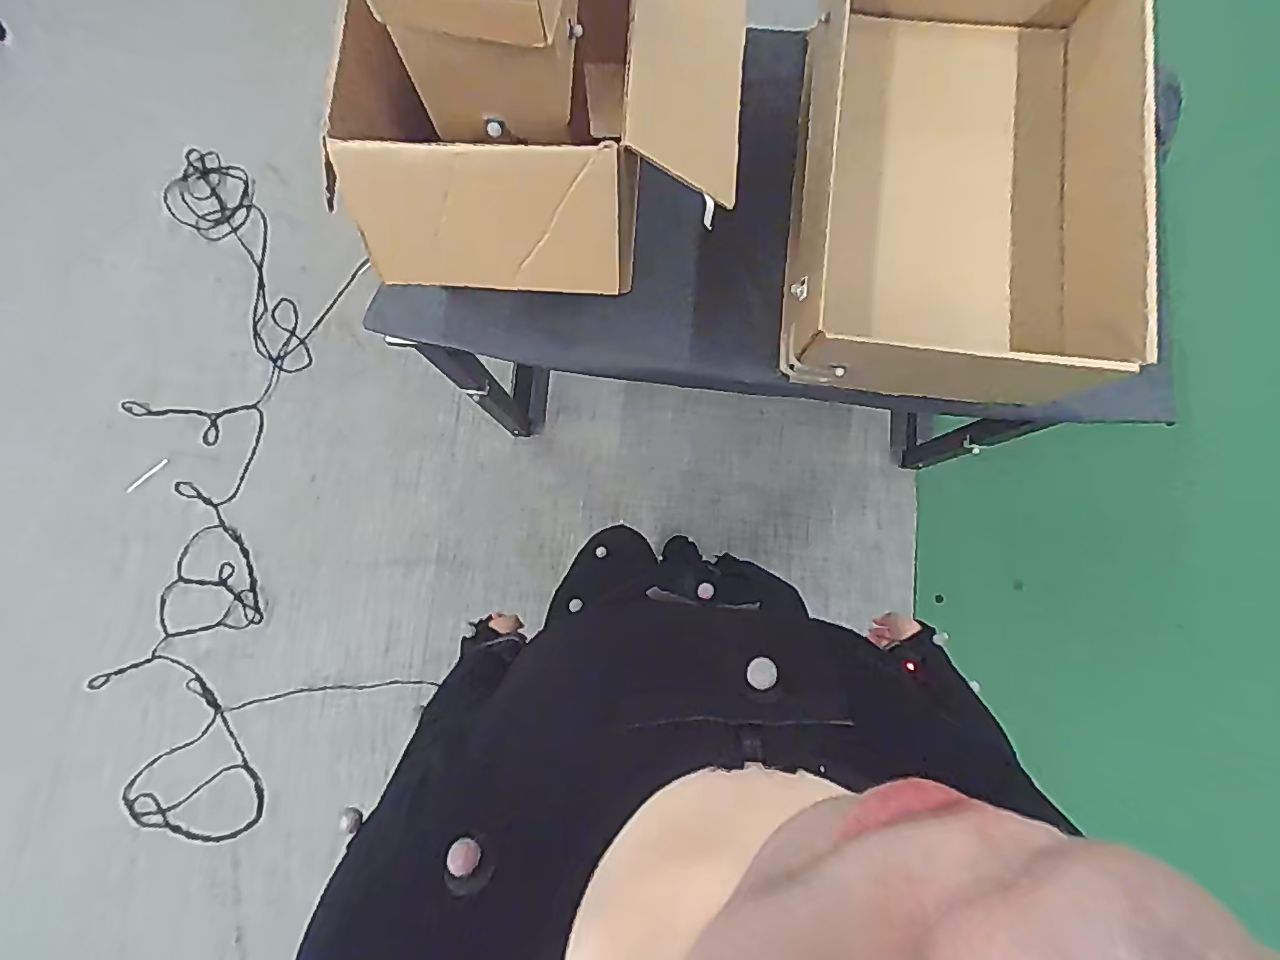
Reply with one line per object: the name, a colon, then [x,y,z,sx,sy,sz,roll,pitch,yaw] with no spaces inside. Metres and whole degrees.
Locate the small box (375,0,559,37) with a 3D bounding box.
small box: [-0.157,-0.520,0.449,0.179,0.176,0.168,10,83,1]
